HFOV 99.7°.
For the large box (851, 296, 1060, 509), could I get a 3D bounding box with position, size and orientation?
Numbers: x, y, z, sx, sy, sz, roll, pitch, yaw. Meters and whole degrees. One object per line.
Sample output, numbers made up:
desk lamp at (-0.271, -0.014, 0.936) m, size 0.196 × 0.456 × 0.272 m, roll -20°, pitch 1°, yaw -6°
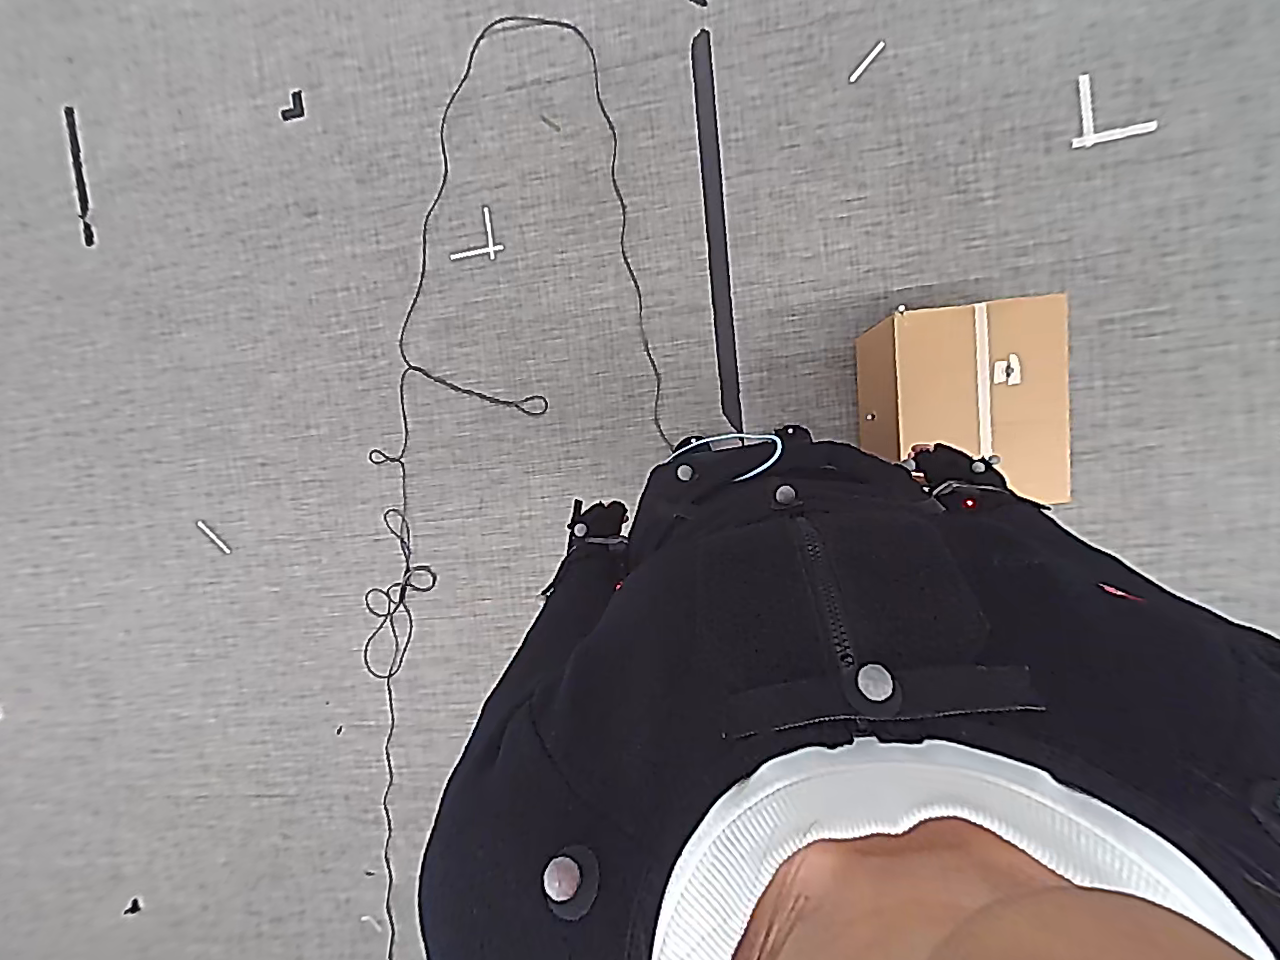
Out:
large box at (0.687, -0.160, 1.230) m, size 0.320 × 0.320 × 0.408 m, roll -4°, pitch 94°, yaw 7°
